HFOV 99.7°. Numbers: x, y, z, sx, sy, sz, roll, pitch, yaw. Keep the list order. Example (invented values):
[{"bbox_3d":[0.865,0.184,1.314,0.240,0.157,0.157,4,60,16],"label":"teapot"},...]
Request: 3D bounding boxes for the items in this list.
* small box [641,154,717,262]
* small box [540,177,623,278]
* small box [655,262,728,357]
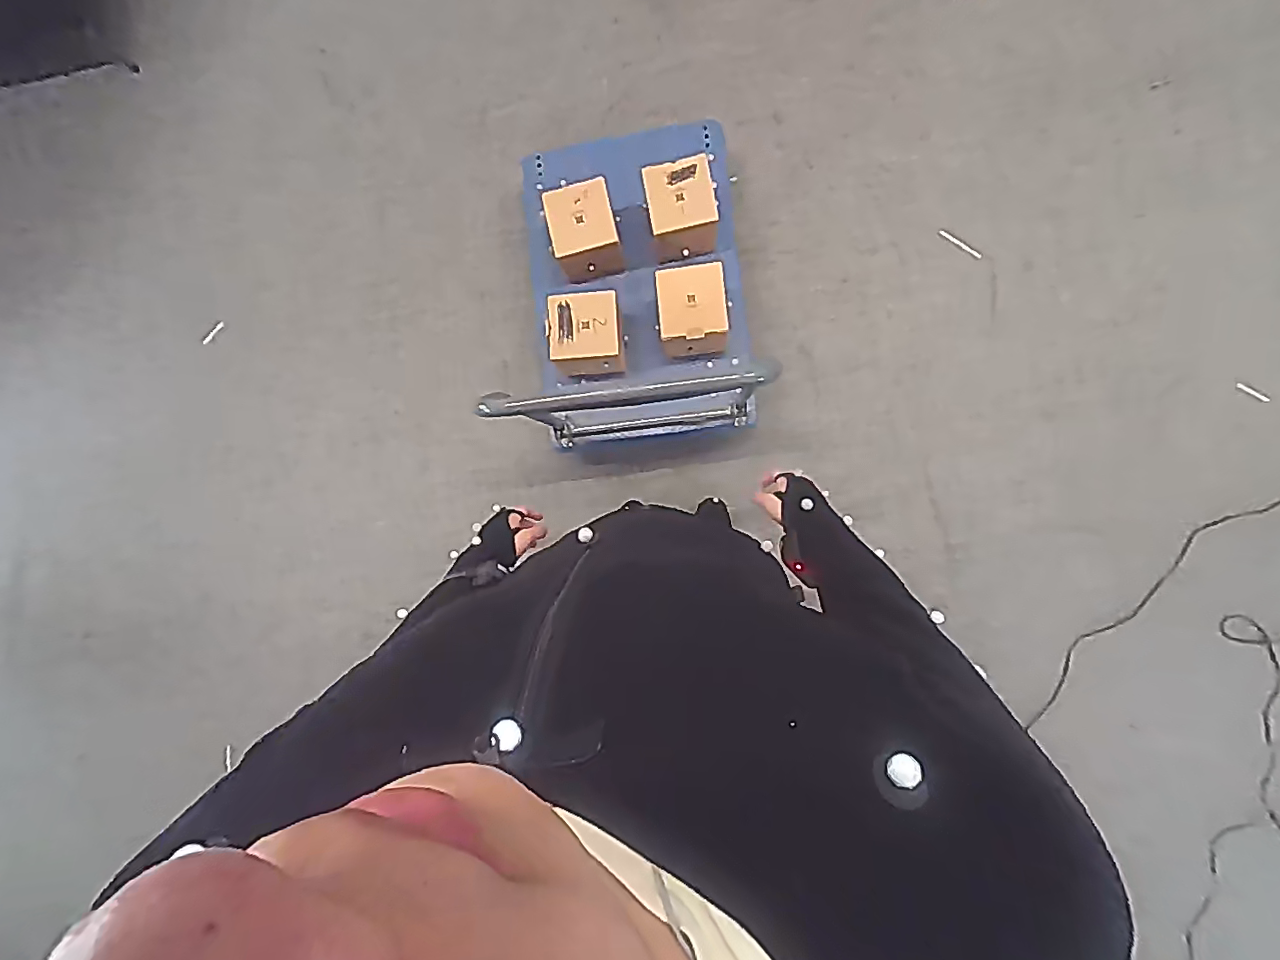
[{"bbox_3d":[0.102,-0.701,1.408,0.168,0.176,0.179,-11,87,6],"label":"small box"},{"bbox_3d":[-0.148,-0.654,1.431,0.168,0.176,0.179,-13,87,4],"label":"small box"},{"bbox_3d":[0.131,-0.434,1.396,0.168,0.176,0.179,-6,87,5],"label":"small box"}]
